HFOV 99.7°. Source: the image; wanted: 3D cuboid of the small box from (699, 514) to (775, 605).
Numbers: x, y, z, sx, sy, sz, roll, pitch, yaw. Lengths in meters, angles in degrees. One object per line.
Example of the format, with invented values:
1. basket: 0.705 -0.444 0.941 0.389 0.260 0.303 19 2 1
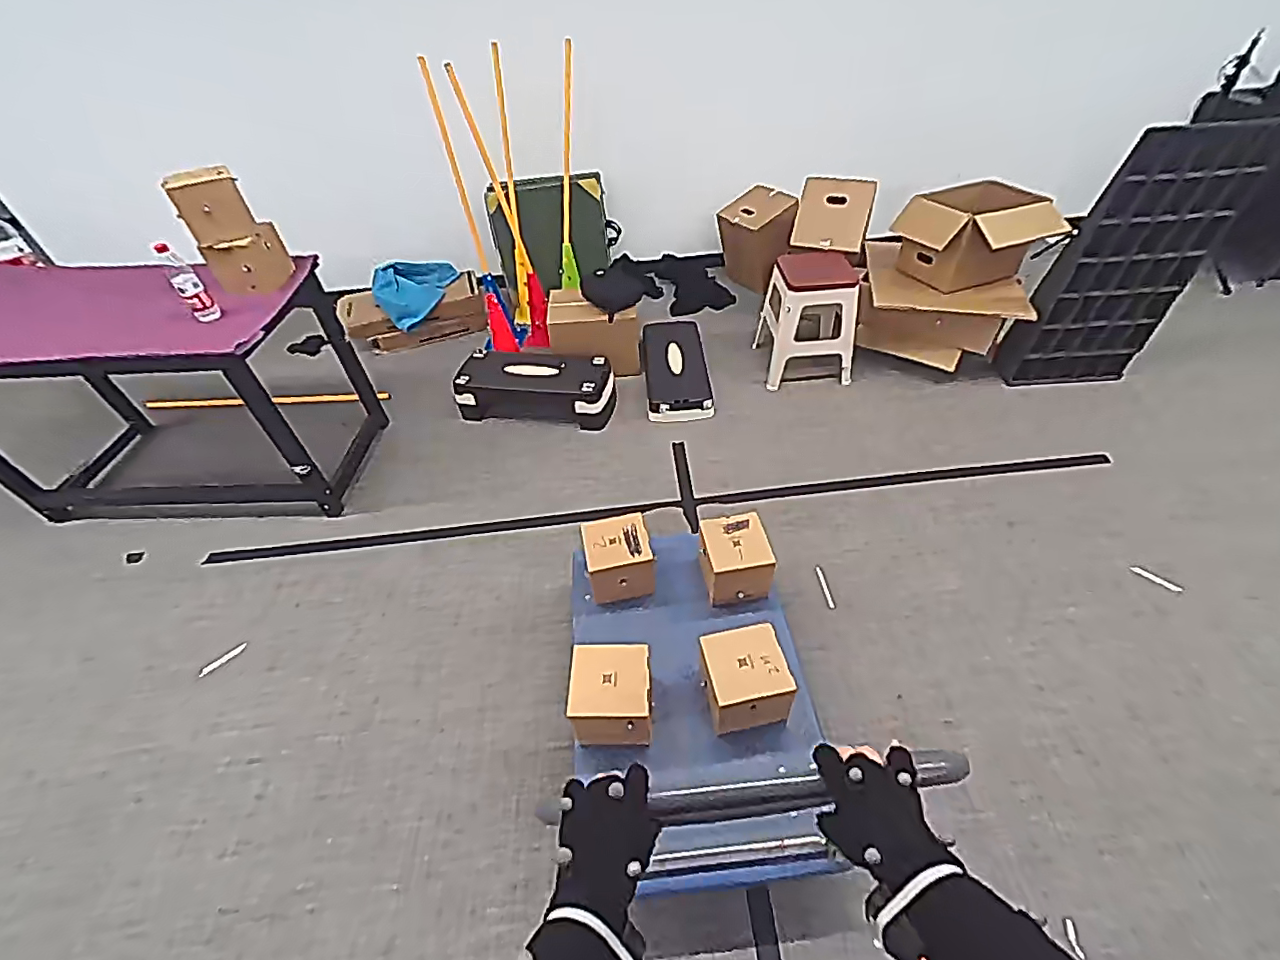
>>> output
1. small box: 0.260 0.221 1.499 0.168 0.176 0.179 -9 47 -4

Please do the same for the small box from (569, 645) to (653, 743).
1. small box: -0.061 0.499 1.256 0.179 0.176 0.168 -1 46 2

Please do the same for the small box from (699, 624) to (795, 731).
1. small box: 0.243 0.465 1.265 0.179 0.176 0.168 -10 46 -5
